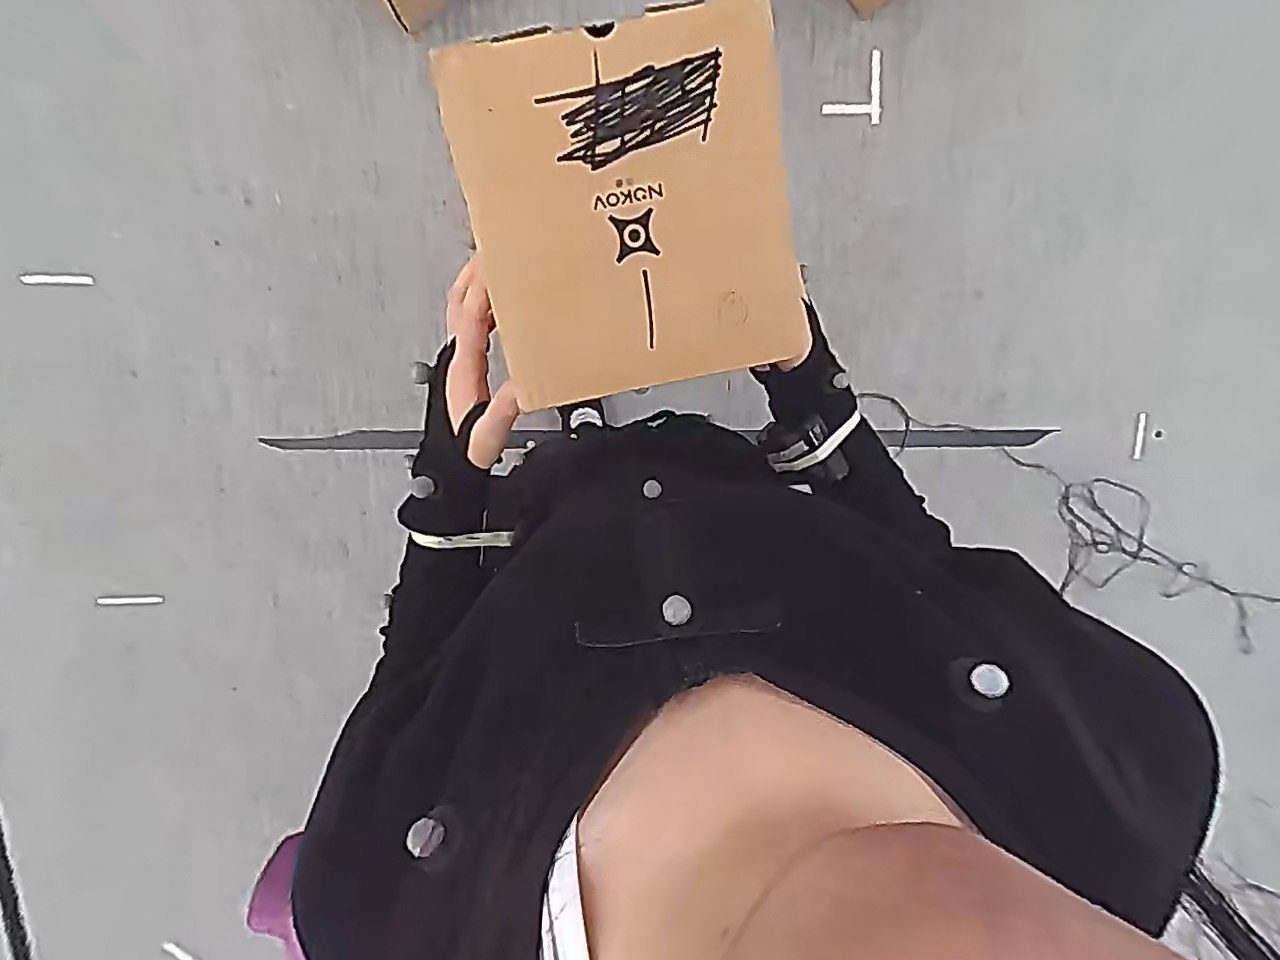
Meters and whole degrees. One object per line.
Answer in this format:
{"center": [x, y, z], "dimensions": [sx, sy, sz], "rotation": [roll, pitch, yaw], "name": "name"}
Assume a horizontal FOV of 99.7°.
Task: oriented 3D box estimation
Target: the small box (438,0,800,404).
{"center": [-0.010, -0.160, 0.358], "dimensions": [0.168, 0.176, 0.179], "rotation": [-12, 108, -1], "name": "small box"}
